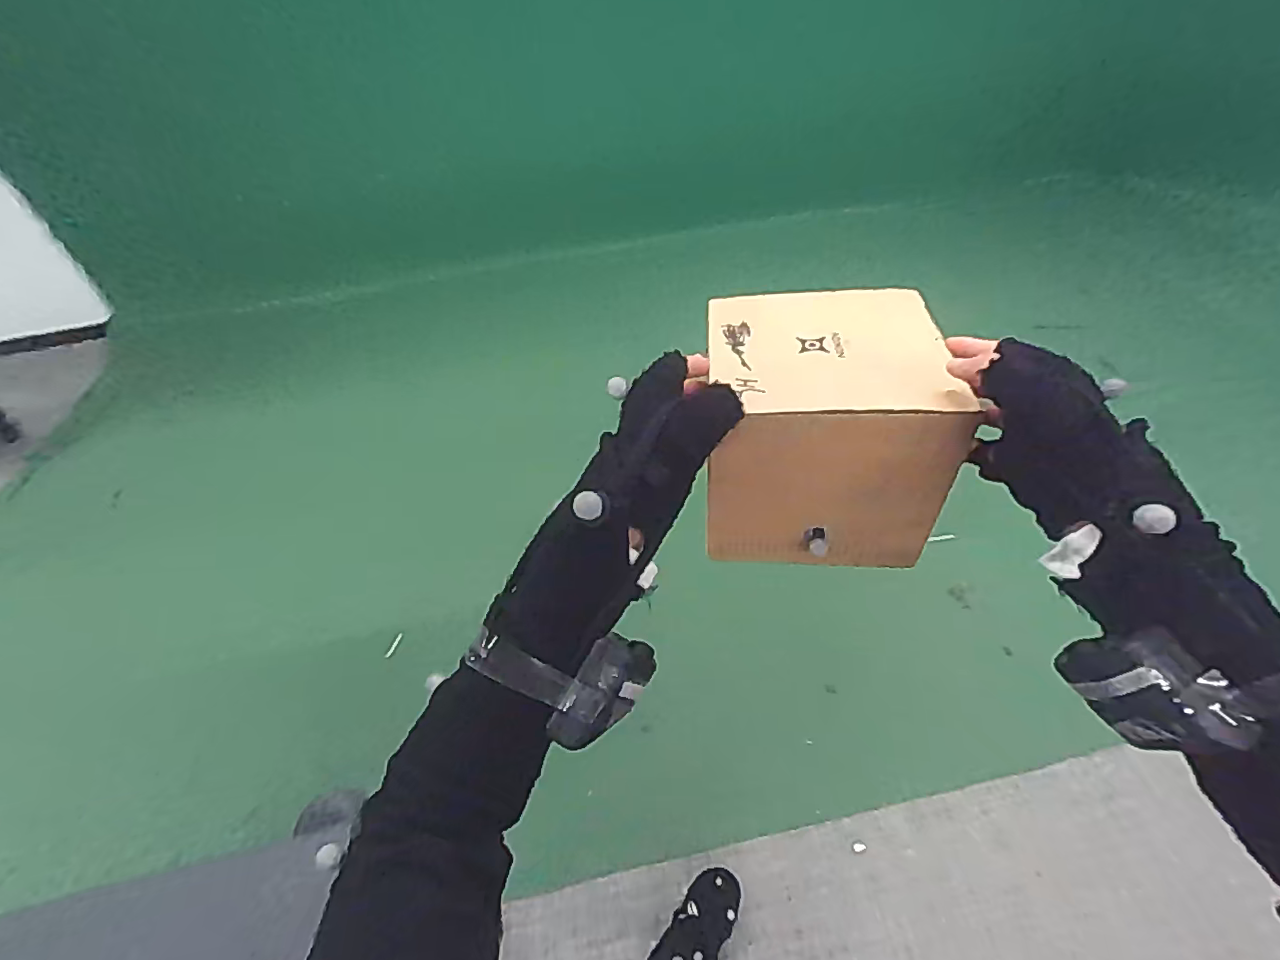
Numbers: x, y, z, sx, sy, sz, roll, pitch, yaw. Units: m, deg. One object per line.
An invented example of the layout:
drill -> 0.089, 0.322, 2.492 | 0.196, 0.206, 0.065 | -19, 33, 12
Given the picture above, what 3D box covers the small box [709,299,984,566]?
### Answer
small box -> 0.153, -0.039, 0.471 | 0.179, 0.176, 0.168 | 2, 45, 8
